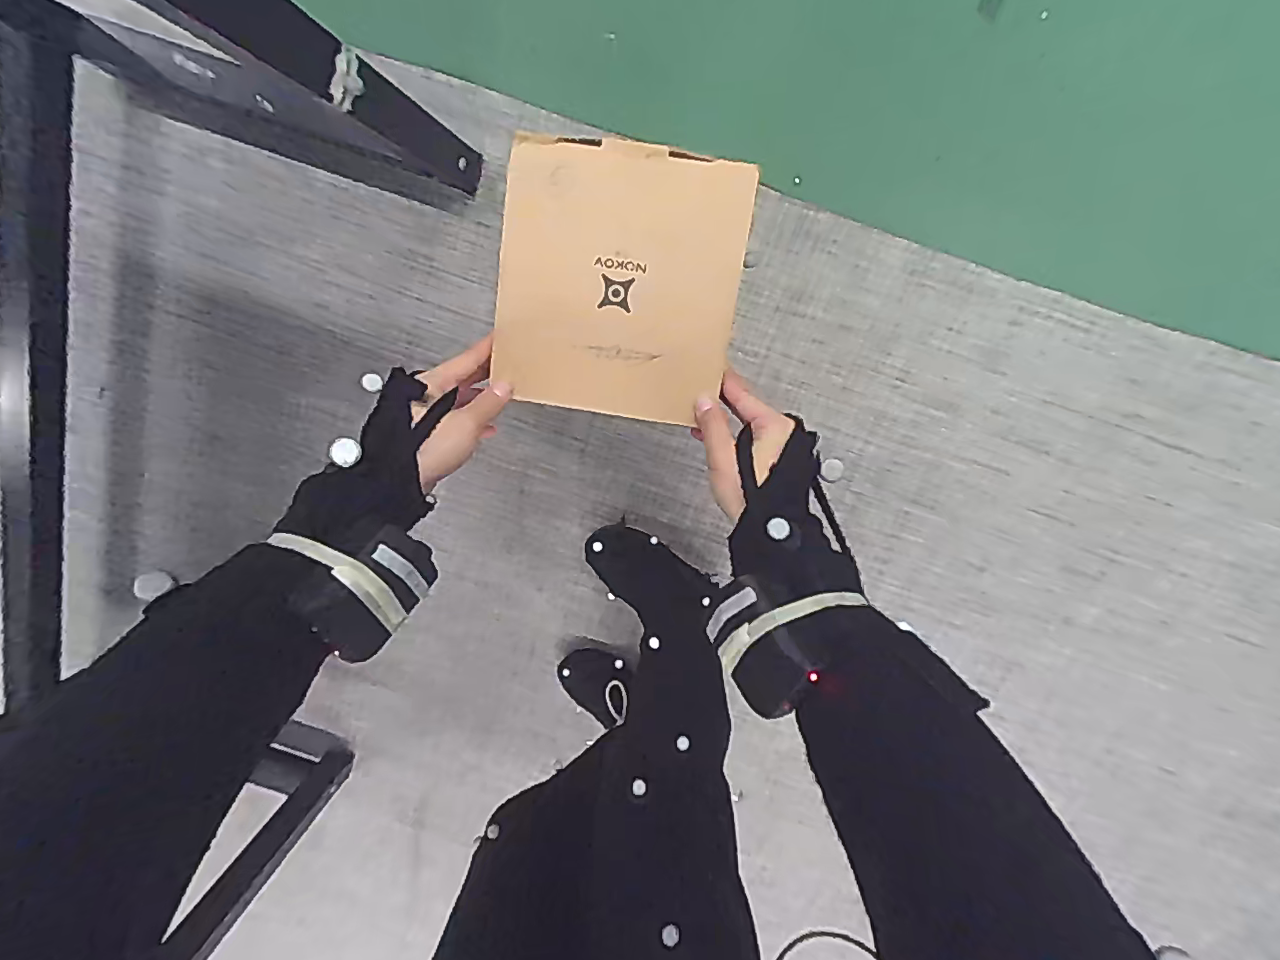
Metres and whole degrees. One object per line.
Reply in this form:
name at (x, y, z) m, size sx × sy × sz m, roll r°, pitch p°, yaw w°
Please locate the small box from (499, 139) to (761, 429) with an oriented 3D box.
small box at (-0.006, -0.149, 0.453) m, size 0.168 × 0.176 × 0.179 m, roll 8°, pitch 103°, yaw 3°
